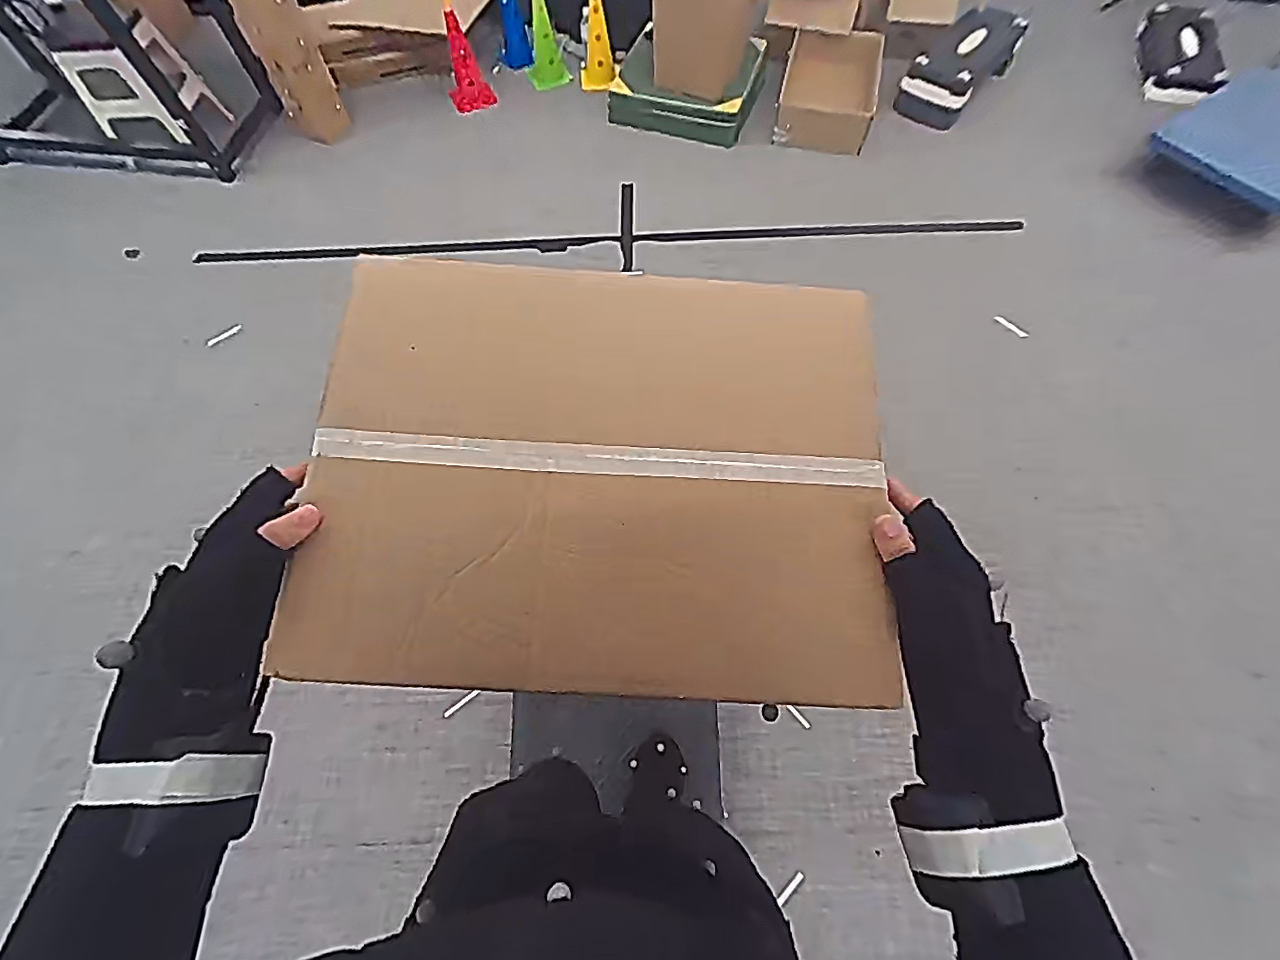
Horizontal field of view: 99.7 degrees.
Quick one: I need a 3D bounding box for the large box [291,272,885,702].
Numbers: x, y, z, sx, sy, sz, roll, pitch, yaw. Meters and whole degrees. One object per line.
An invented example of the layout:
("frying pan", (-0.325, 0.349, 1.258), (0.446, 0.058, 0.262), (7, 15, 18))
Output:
("large box", (-0.030, 0.030, 0.541), (0.408, 0.320, 0.320), (4, 73, -2))
